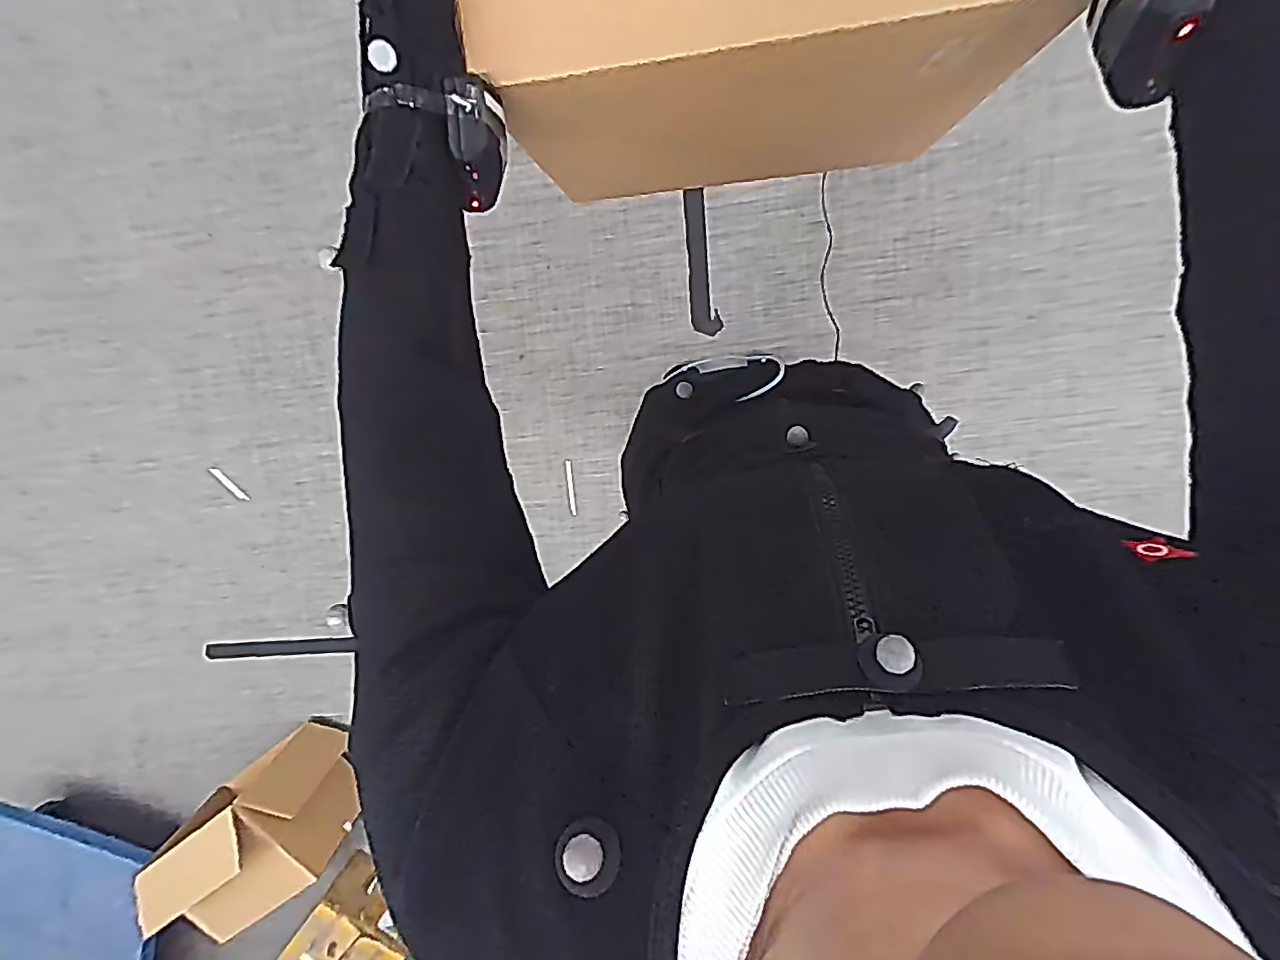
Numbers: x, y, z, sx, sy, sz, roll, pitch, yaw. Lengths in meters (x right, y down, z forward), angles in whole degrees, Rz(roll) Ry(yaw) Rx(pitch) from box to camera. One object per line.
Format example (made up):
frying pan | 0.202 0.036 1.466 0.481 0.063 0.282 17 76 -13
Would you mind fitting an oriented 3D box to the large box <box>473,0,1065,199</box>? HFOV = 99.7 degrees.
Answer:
large box | 0.085 -0.471 0.462 0.408 0.320 0.320 -4 104 7
